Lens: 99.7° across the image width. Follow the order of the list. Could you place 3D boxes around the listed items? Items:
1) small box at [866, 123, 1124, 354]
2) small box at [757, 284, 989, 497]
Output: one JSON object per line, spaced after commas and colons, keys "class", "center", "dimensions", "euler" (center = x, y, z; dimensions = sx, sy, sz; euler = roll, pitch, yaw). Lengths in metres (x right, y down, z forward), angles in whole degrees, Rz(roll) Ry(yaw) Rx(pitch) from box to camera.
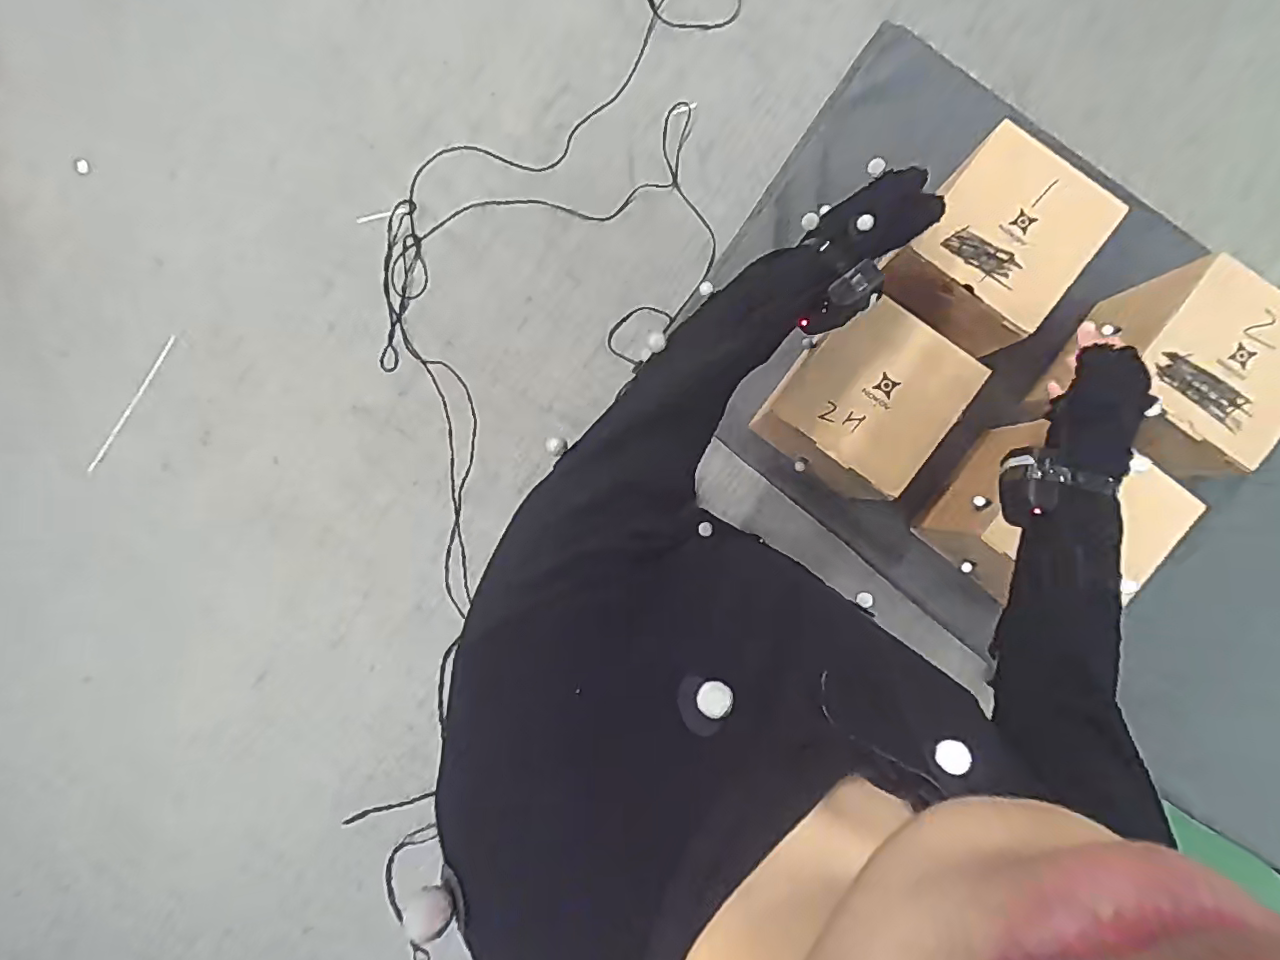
{"class": "small box", "center": [0.407, -0.270, 0.662], "dimensions": [0.168, 0.176, 0.179], "euler": [38, 90, 2]}
{"class": "small box", "center": [0.264, -0.098, 0.663], "dimensions": [0.168, 0.176, 0.179], "euler": [37, 92, 3]}
